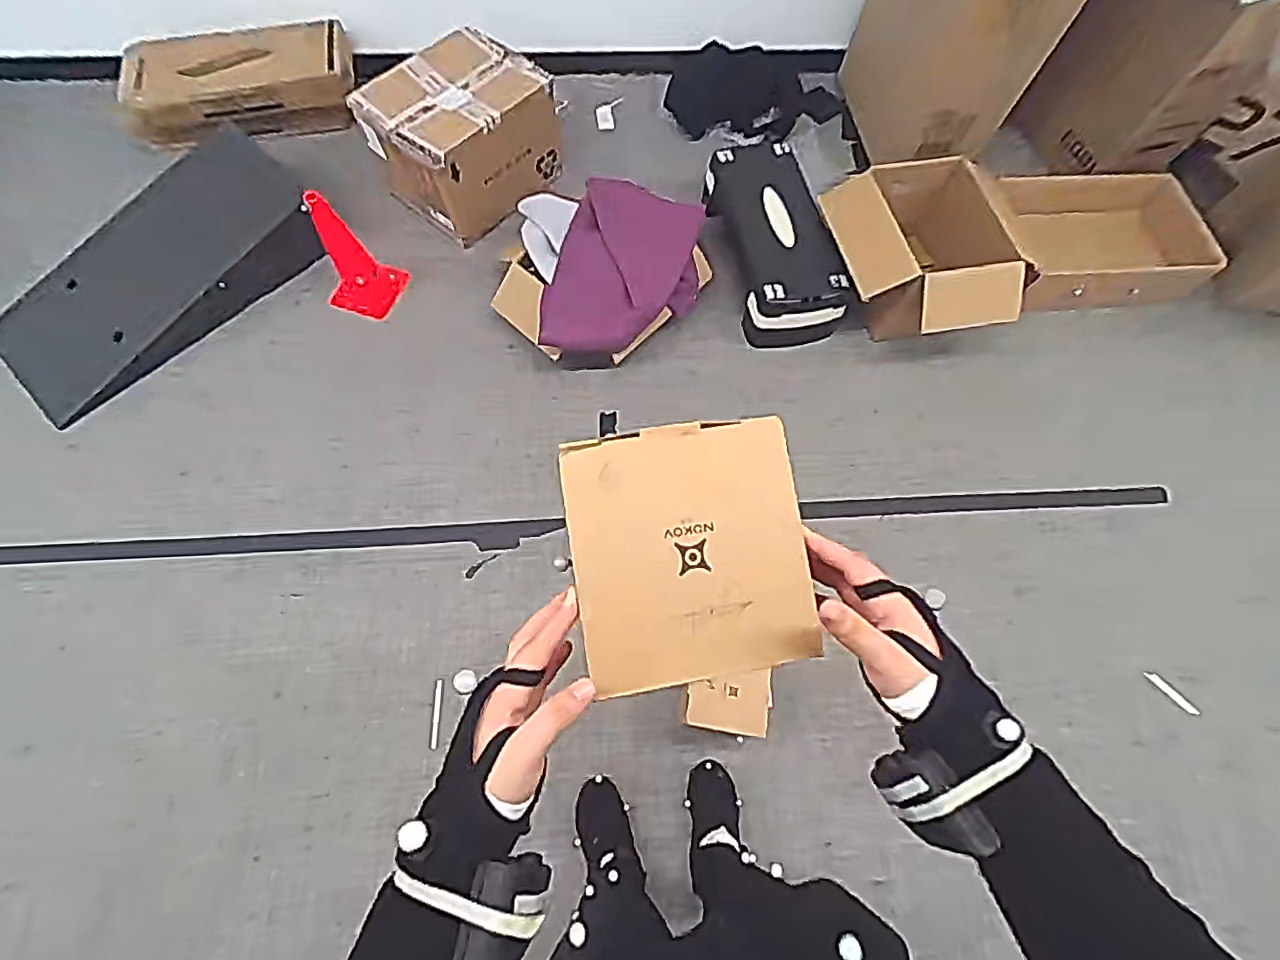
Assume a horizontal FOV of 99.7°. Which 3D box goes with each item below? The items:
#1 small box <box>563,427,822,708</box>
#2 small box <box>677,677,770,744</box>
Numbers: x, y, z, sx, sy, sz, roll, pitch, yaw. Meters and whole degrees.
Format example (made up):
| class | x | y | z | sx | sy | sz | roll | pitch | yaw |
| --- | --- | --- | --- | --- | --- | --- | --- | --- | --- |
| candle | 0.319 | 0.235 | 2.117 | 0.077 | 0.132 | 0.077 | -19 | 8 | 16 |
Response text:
| class | x | y | z | sx | sy | sz | roll | pitch | yaw |
| --- | --- | --- | --- | --- | --- | --- | --- | --- | --- |
| small box | 0.025 | 0.065 | 0.452 | 0.168 | 0.176 | 0.179 | -7 | 85 | -8 |
| small box | 0.190 | 0.500 | 1.252 | 0.179 | 0.176 | 0.168 | 10 | 67 | 2 |
